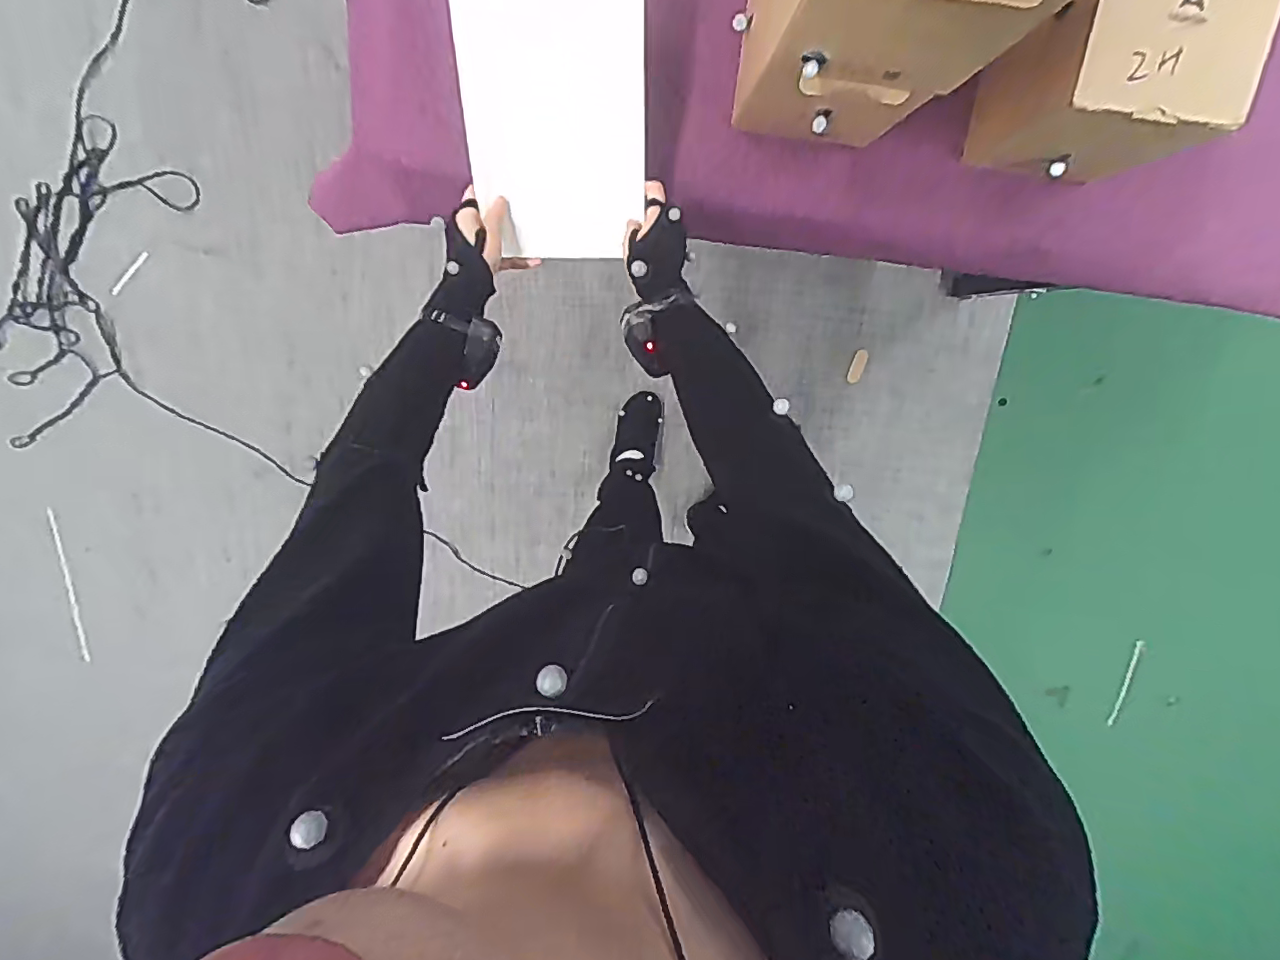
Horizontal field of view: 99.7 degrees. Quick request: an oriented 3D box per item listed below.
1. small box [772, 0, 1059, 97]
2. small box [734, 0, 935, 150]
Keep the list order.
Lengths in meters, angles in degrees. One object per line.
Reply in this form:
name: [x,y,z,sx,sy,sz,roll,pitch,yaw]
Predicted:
small box: [0.202,-0.409,0.382,0.168,0.176,0.179,6,103,-3]
small box: [0.198,-0.456,0.540,0.168,0.176,0.179,6,105,-4]
